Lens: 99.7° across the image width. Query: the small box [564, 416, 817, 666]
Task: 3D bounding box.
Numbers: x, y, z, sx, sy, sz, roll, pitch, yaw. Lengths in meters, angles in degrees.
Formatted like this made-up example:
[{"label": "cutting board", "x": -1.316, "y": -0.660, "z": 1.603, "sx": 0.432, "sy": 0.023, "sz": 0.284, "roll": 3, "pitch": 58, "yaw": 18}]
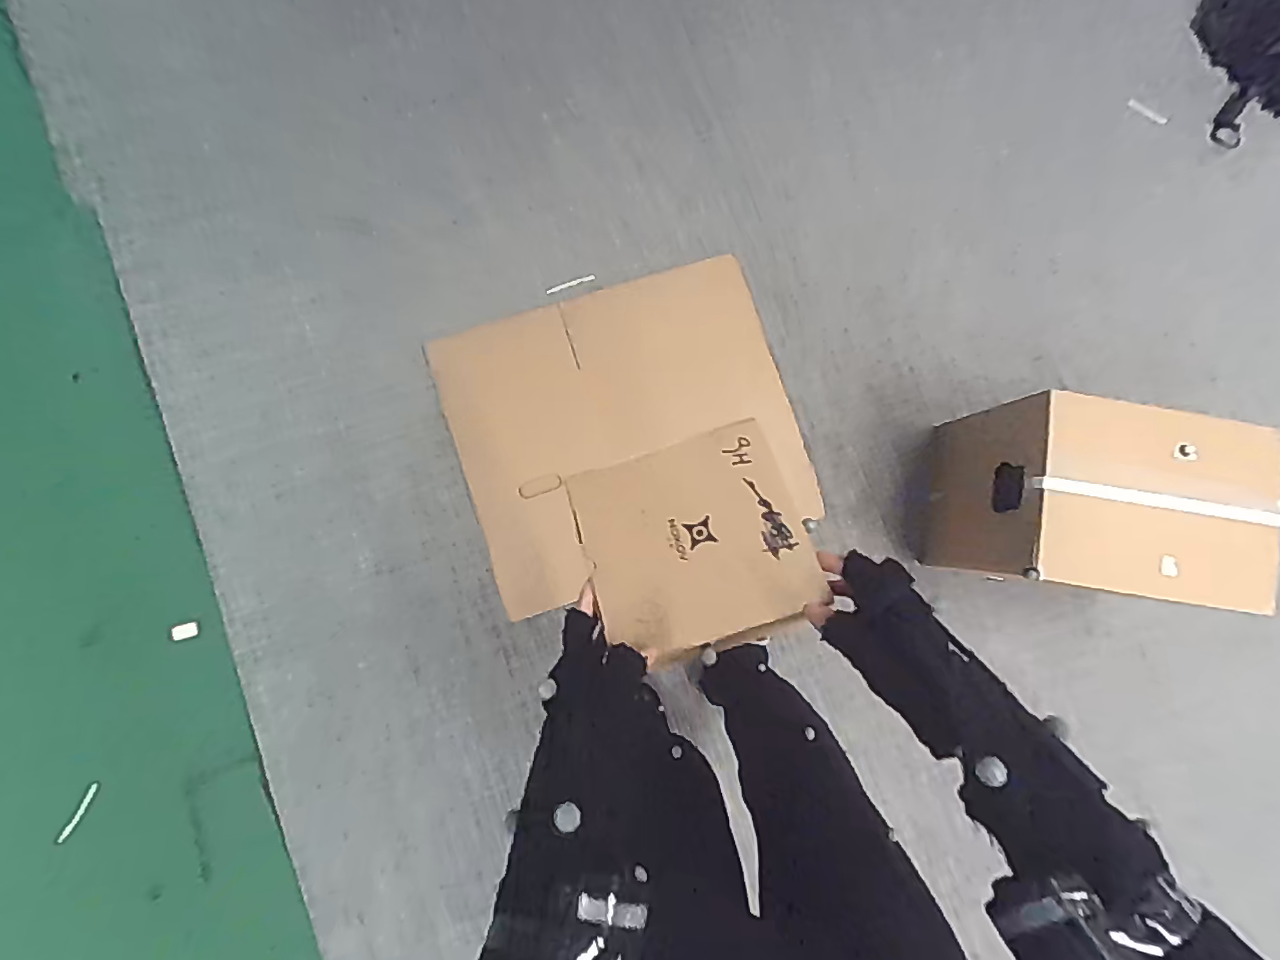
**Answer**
[{"label": "small box", "x": 0.048, "y": 0.071, "z": 0.526, "sx": 0.179, "sy": 0.176, "sz": 0.168, "roll": -21, "pitch": 66, "yaw": 1}]
